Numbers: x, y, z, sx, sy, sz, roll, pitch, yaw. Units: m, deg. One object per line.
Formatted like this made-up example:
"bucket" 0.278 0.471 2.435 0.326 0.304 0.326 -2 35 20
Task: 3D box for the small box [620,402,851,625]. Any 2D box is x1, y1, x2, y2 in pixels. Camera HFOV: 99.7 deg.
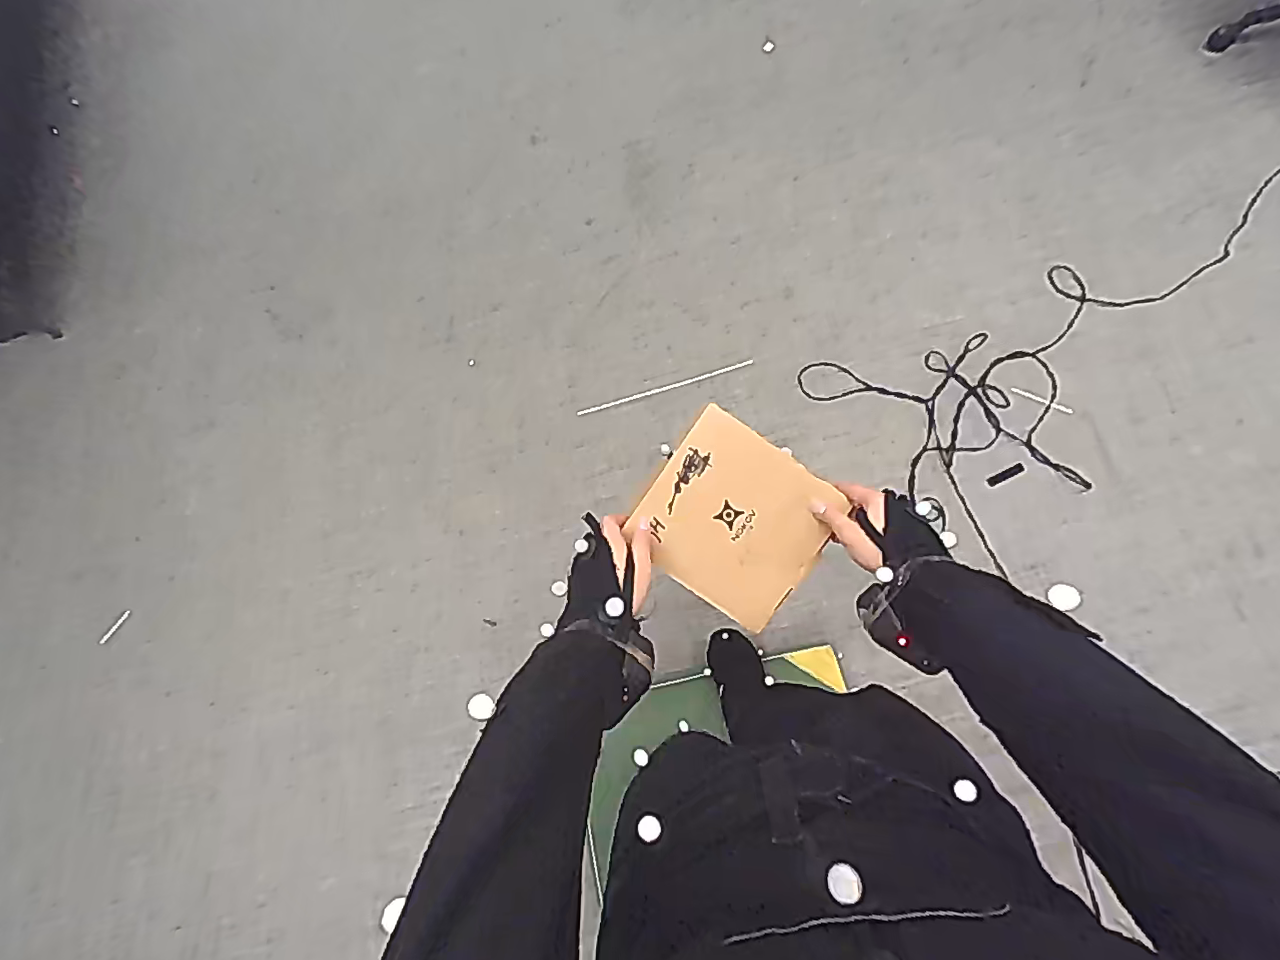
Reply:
"small box" 0.097 0.027 0.618 0.179 0.176 0.168 35 95 -1
